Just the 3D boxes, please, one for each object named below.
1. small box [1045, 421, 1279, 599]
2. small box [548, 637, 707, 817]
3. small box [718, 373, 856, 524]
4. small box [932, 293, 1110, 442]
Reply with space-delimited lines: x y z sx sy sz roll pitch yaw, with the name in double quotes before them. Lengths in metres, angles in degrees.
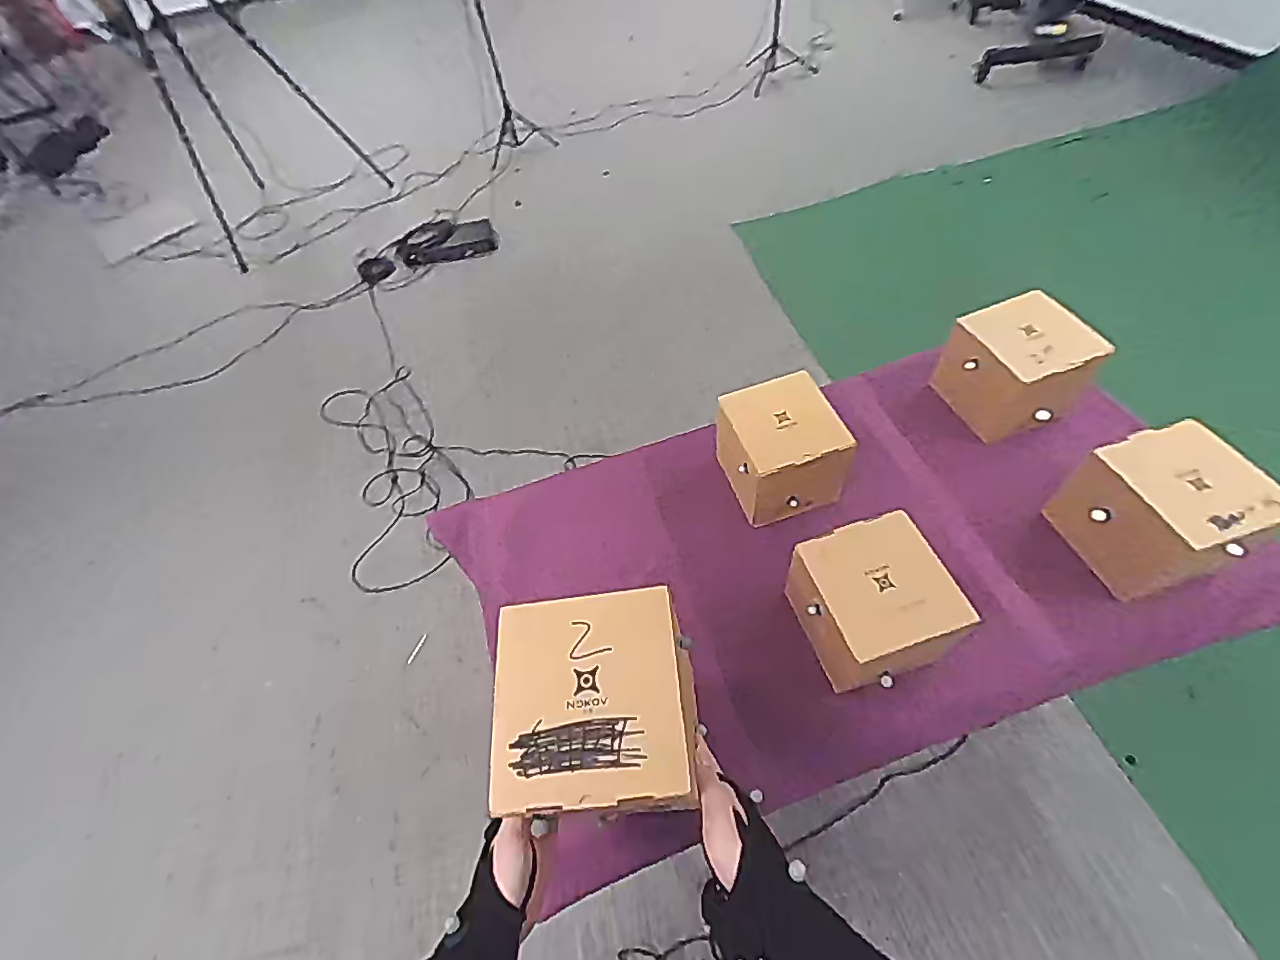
"small box" 0.761 0.047 0.803 0.168 0.176 0.179 -17 53 -3
"small box" -0.009 0.311 0.671 0.168 0.176 0.179 -7 57 4
"small box" 0.242 -0.052 0.945 0.168 0.176 0.179 -18 57 -5
"small box" 0.671 -0.201 0.983 0.168 0.176 0.179 -20 56 -3
